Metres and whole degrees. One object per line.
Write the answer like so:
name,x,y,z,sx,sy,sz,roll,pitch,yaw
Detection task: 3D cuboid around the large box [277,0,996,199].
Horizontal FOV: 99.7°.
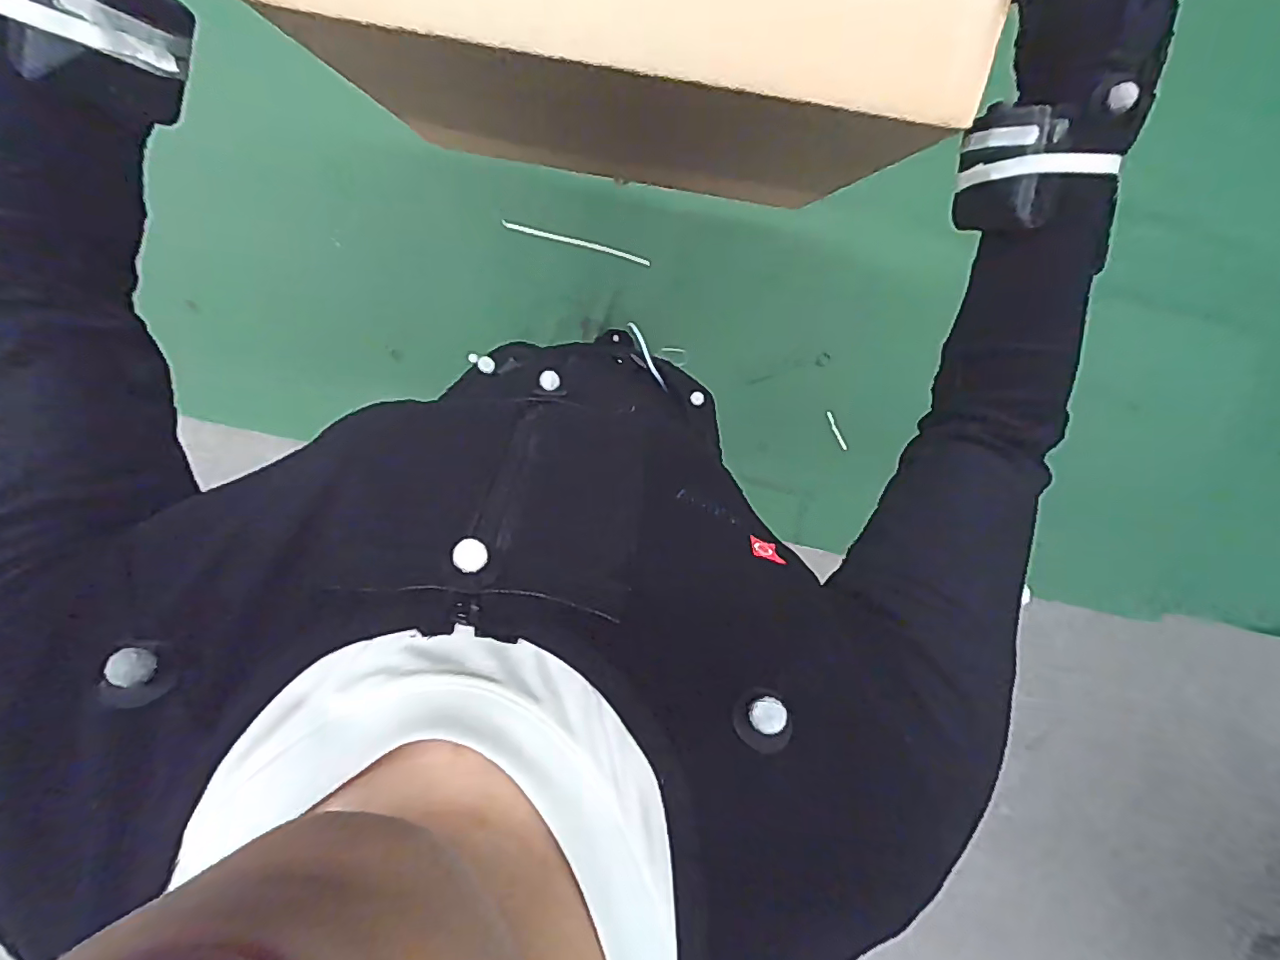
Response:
large box,0.010,-0.425,0.399,0.408,0.320,0.320,7,110,-4
